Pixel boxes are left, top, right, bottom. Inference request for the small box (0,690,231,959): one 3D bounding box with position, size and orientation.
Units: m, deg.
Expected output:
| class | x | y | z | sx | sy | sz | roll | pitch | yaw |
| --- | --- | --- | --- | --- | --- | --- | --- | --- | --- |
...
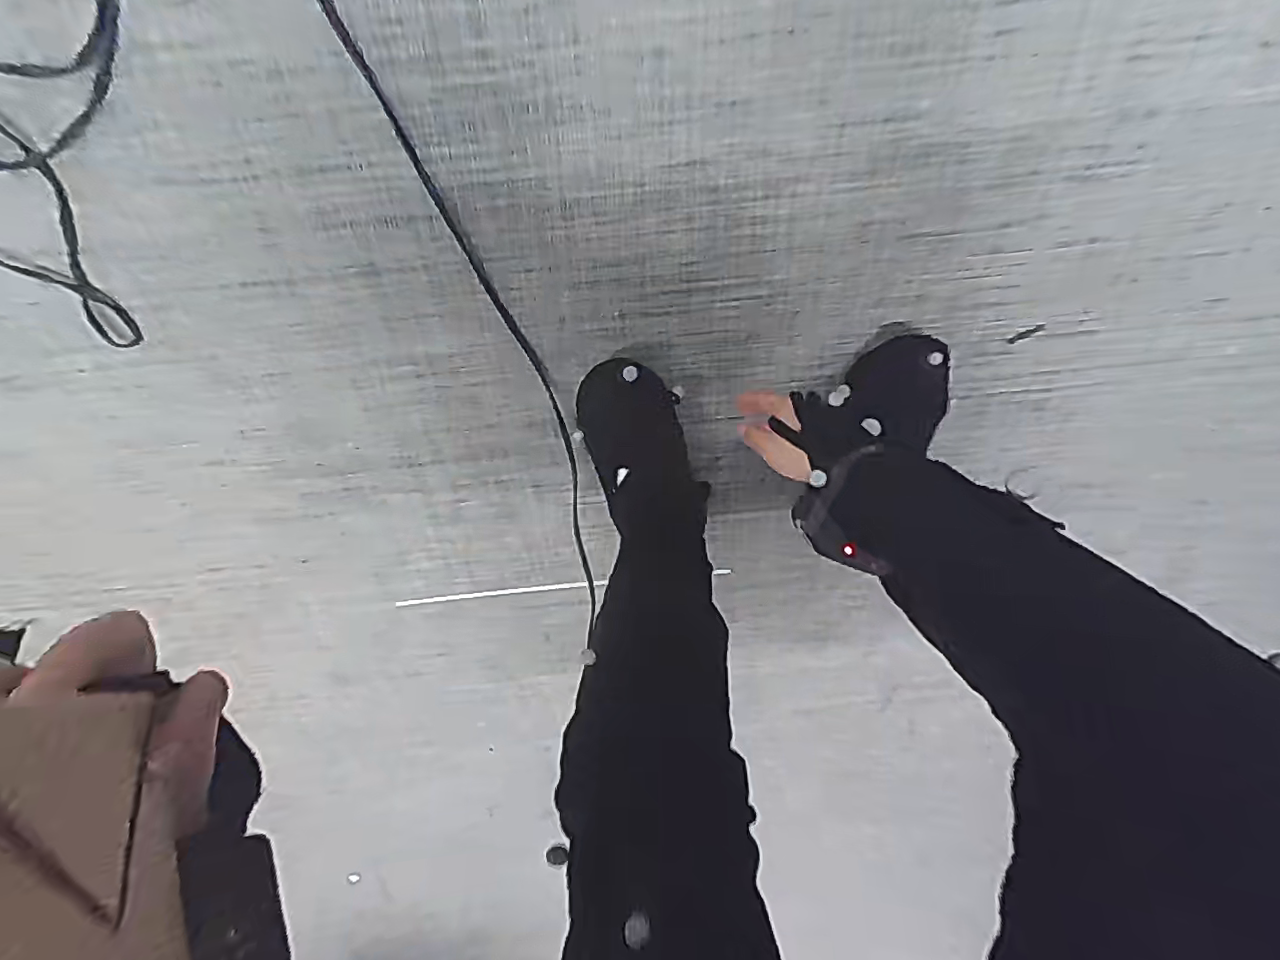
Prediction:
| class | x | y | z | sx | sy | sz | roll | pitch | yaw |
| --- | --- | --- | --- | --- | --- | --- | --- | --- | --- |
| small box | -0.173 | 0.144 | 0.084 | 0.176 | 0.168 | 0.179 | -10 | 168 | -35 |
